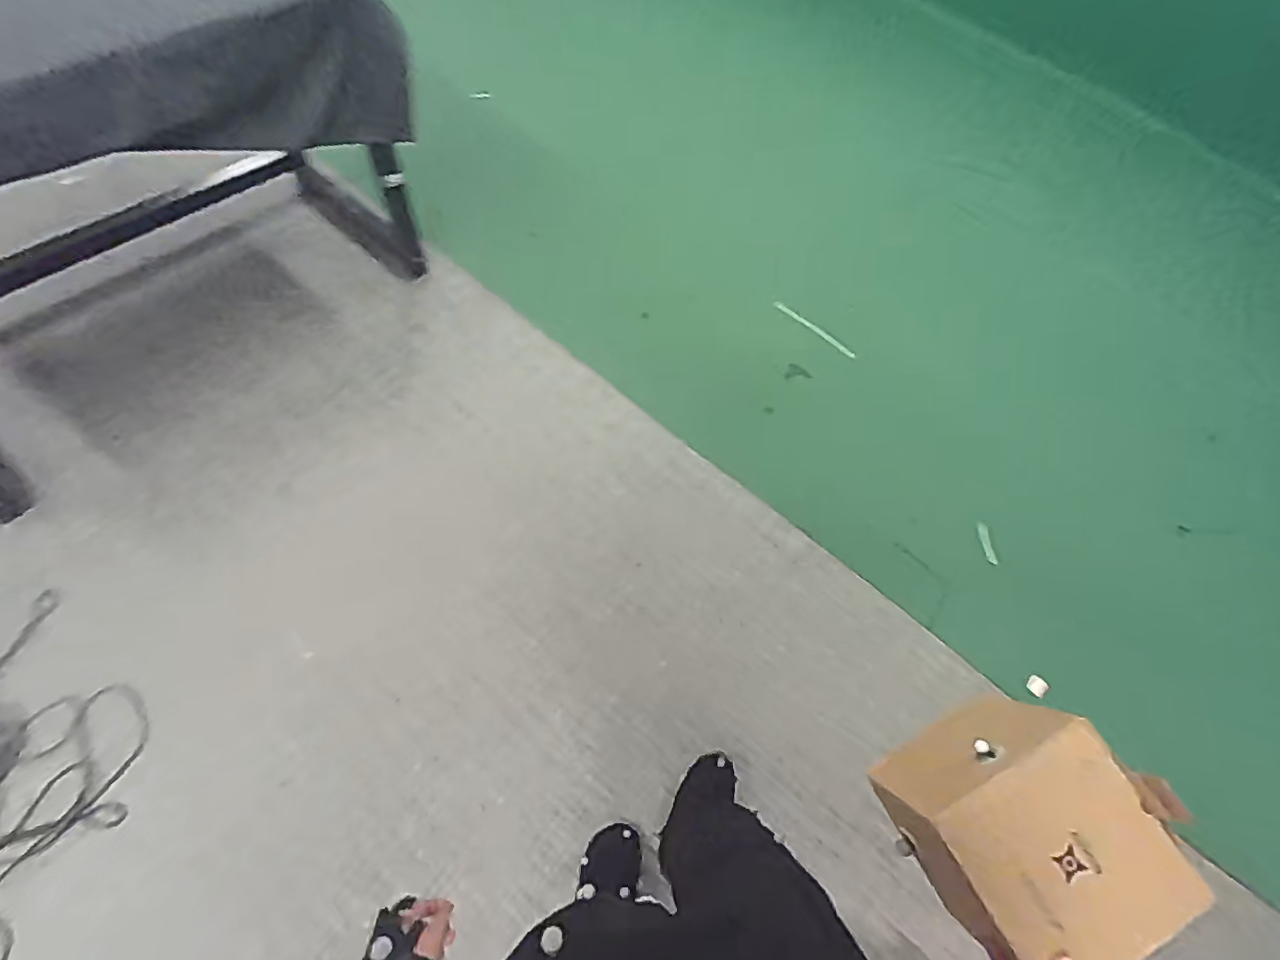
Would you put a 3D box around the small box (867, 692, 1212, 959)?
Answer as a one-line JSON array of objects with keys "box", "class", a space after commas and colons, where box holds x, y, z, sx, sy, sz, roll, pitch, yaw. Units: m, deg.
[{"box": [0.365, 0.333, 0.535, 0.179, 0.176, 0.168, -31, 77, -7], "class": "small box"}]
